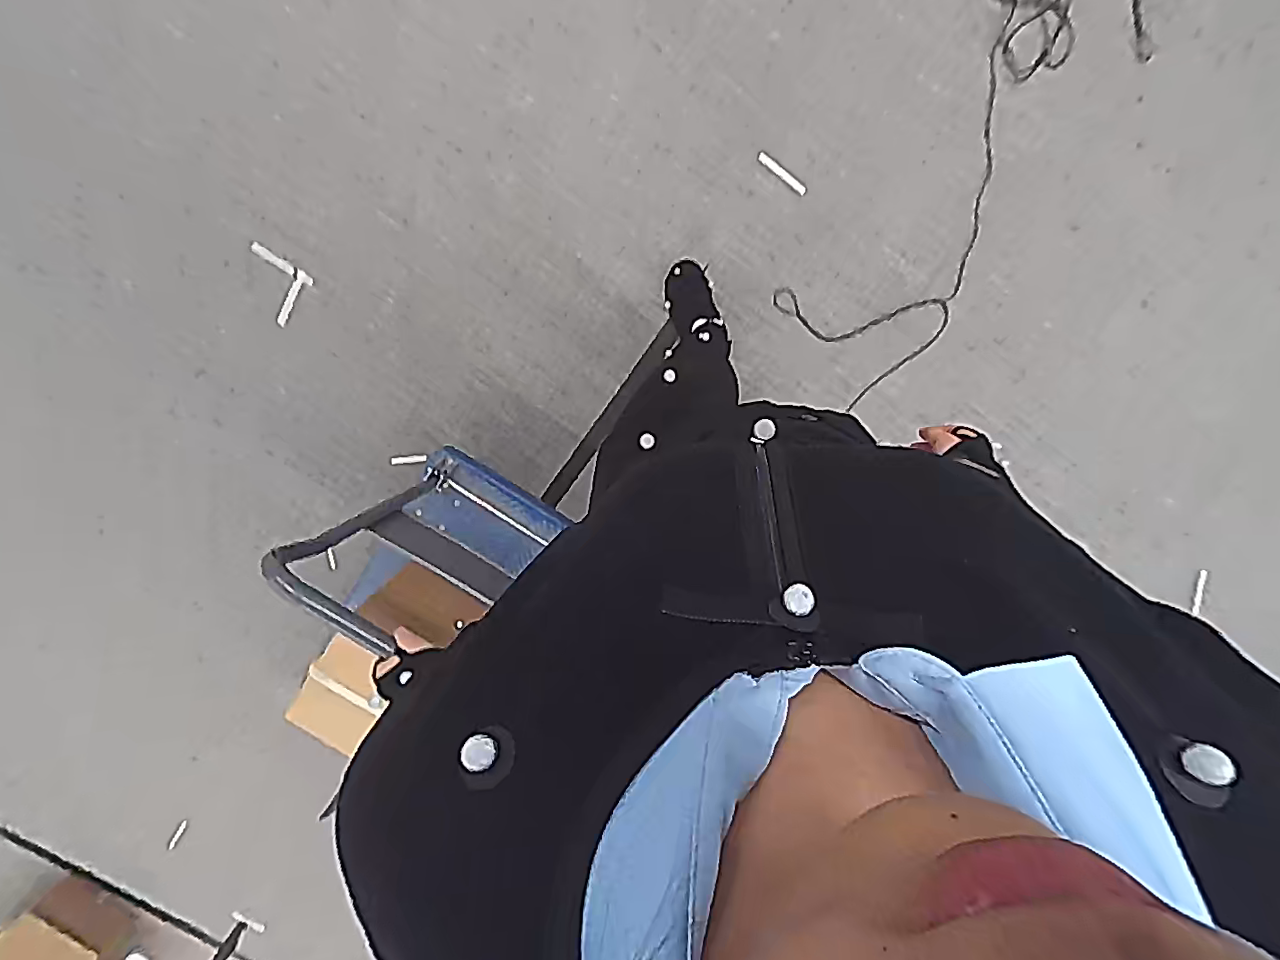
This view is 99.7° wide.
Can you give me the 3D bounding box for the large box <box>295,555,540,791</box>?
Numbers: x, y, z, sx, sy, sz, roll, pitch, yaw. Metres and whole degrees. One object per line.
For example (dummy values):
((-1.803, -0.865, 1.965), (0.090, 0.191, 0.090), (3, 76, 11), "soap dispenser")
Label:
((-0.518, 0.454, 1.332), (0.408, 0.320, 0.320), (35, 104, -8), "large box")
